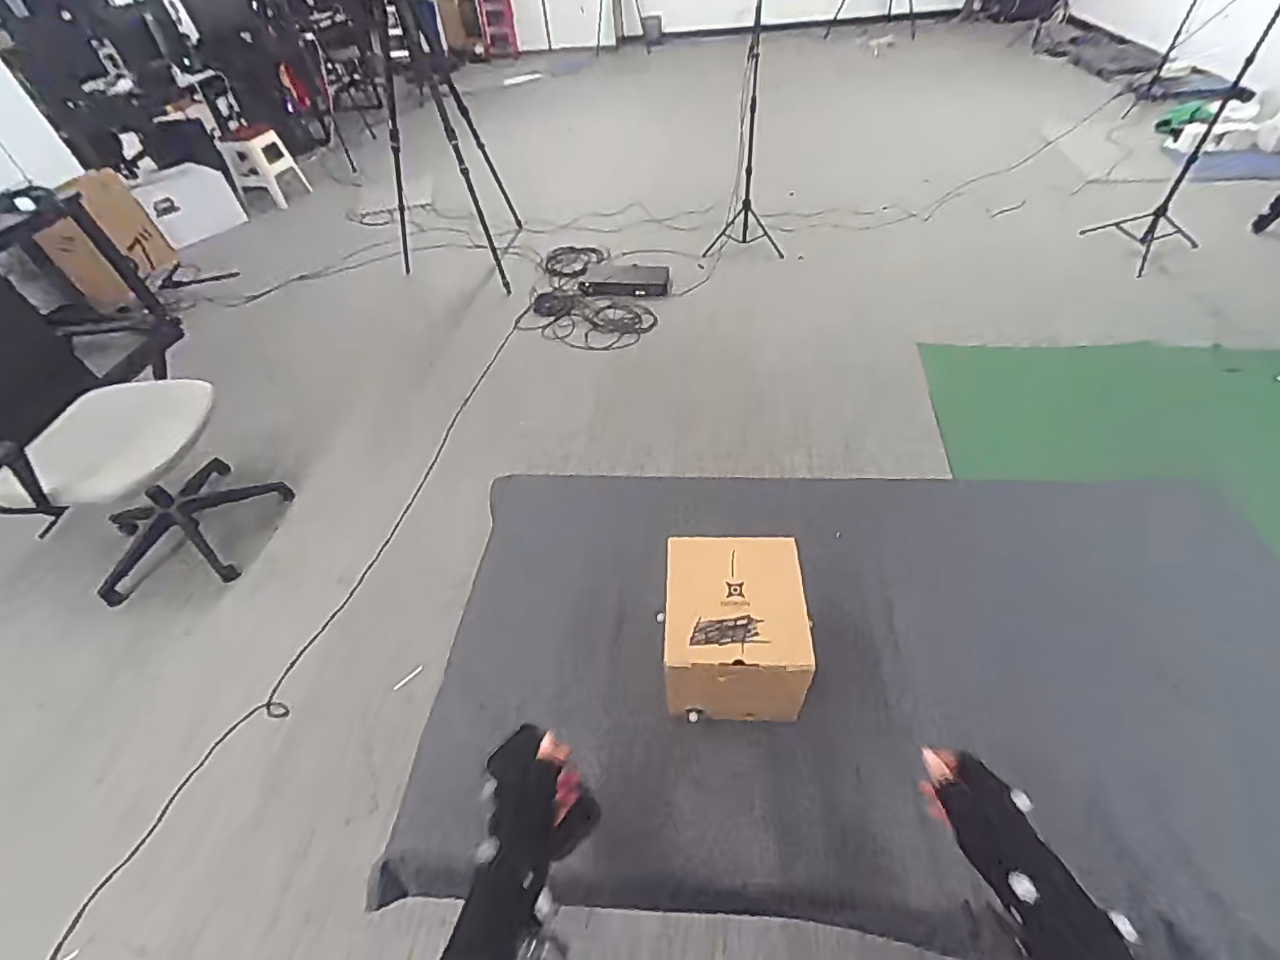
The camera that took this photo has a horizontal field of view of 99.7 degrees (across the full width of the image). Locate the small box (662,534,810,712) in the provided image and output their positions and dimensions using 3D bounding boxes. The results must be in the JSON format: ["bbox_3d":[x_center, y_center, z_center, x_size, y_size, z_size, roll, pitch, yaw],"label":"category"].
[{"bbox_3d":[0.118,0.189,0.711,0.168,0.176,0.179,0,47,5],"label":"small box"}]
